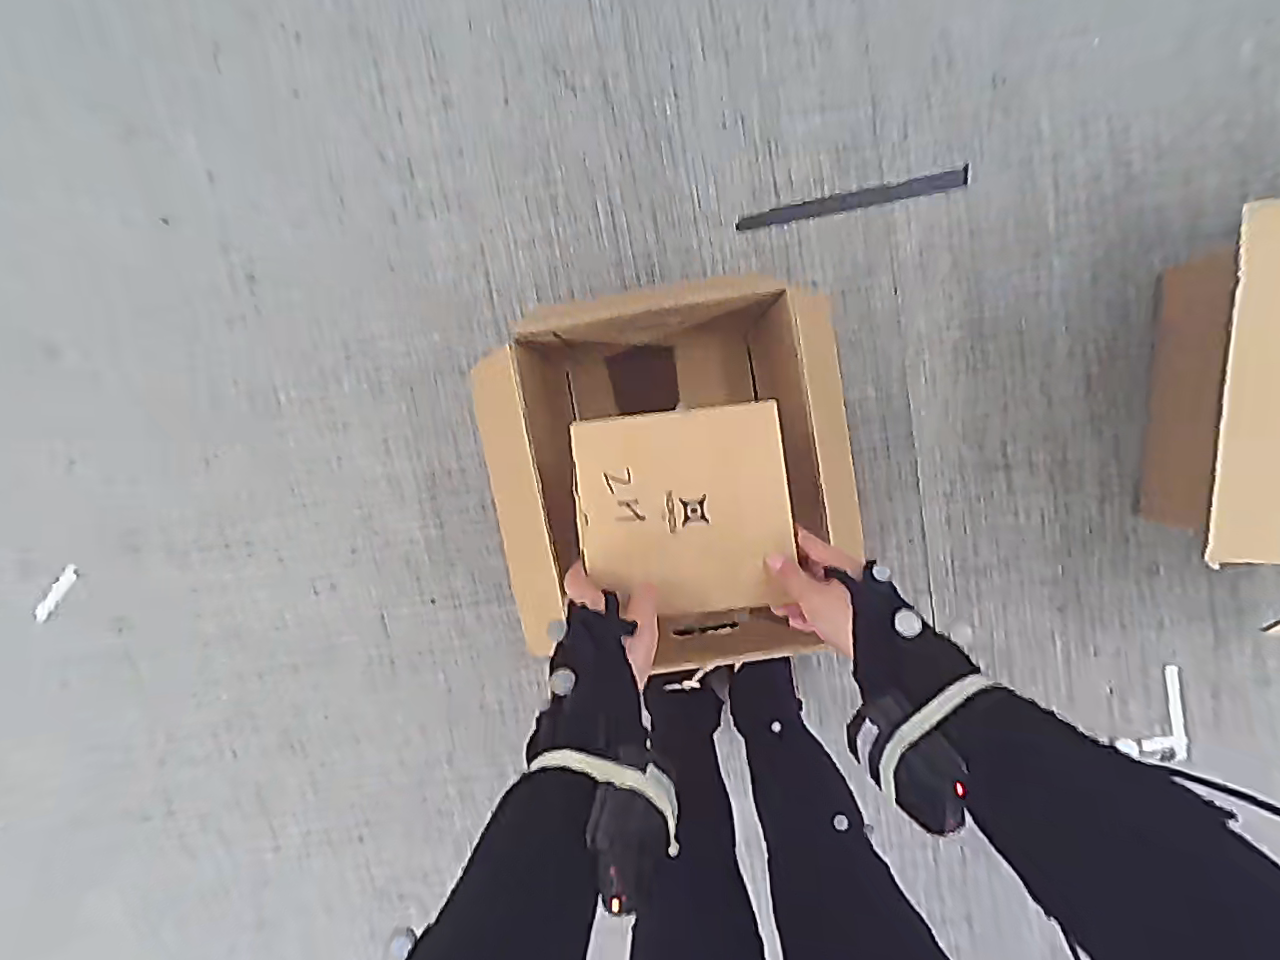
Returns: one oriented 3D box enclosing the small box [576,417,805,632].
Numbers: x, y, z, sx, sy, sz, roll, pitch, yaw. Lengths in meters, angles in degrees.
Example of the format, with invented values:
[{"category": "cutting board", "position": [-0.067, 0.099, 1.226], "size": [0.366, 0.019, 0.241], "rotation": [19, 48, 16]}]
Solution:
[{"category": "small box", "position": [0.041, 0.042, 0.519], "size": [0.179, 0.176, 0.168], "rotation": [-6, 84, 2]}]
